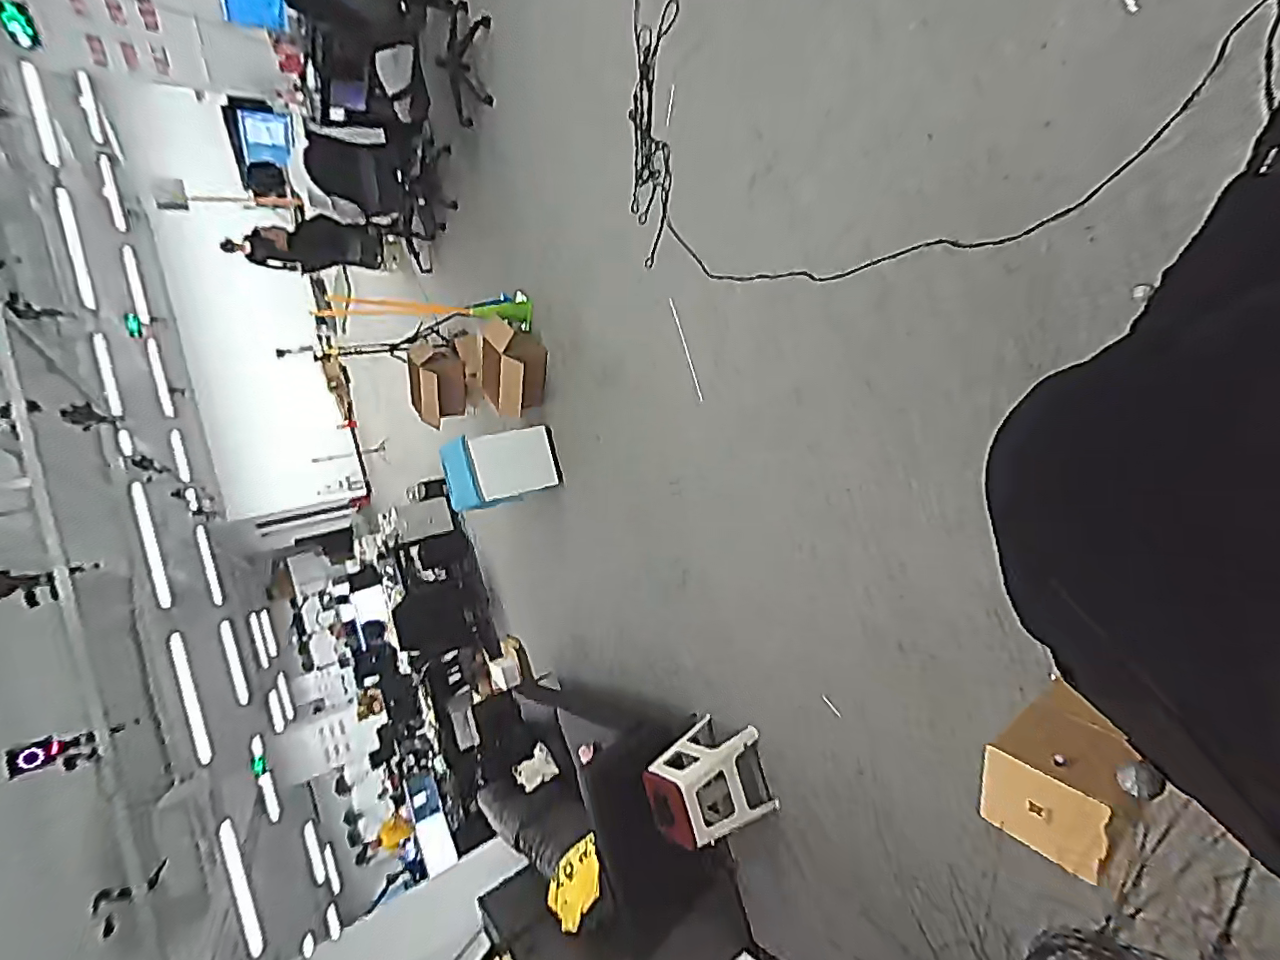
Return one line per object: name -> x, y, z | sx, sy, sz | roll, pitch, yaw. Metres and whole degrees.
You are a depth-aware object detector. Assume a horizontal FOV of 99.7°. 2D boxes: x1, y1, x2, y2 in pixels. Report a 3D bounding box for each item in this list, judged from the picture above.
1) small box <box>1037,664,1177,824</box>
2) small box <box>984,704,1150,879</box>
small box -> 0.874, 0.485, 1.020 | 0.168, 0.176, 0.179 | 14, 116, 53
small box -> 0.737, 0.522, 0.940 | 0.179, 0.176, 0.168 | 16, 117, 53
